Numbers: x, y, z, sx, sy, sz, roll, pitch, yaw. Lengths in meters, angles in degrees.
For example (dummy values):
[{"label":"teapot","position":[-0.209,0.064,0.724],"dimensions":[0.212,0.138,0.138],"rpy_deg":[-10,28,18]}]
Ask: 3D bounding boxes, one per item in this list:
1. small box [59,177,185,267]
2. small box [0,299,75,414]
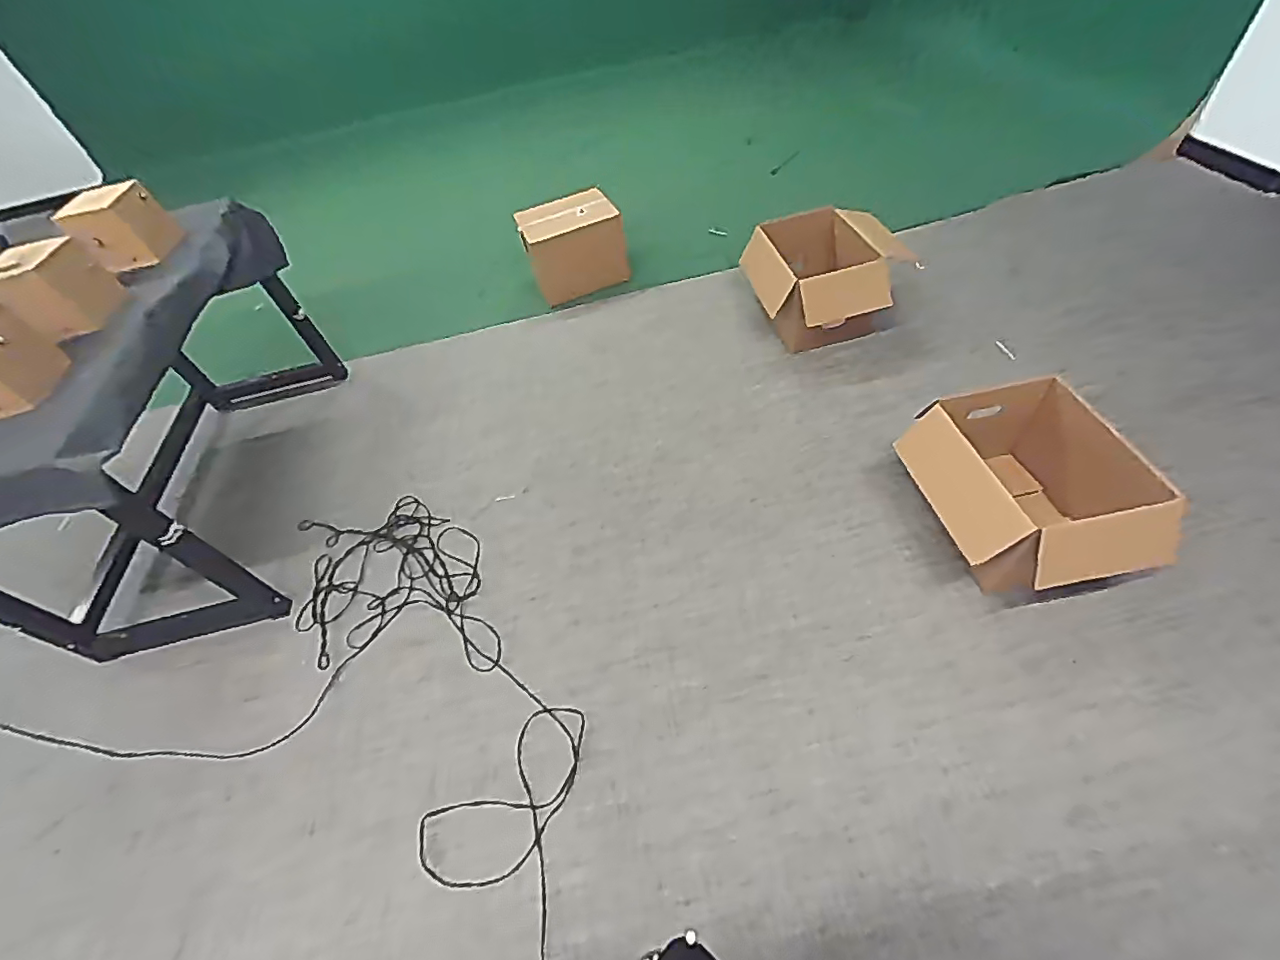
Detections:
[{"label":"small box","position":[-1.466,-0.728,1.546],"dimensions":[0.168,0.176,0.179],"rpy_deg":[-12,51,2]},{"label":"small box","position":[-1.393,-0.252,1.157],"dimensions":[0.168,0.176,0.179],"rpy_deg":[-14,50,-2]}]
